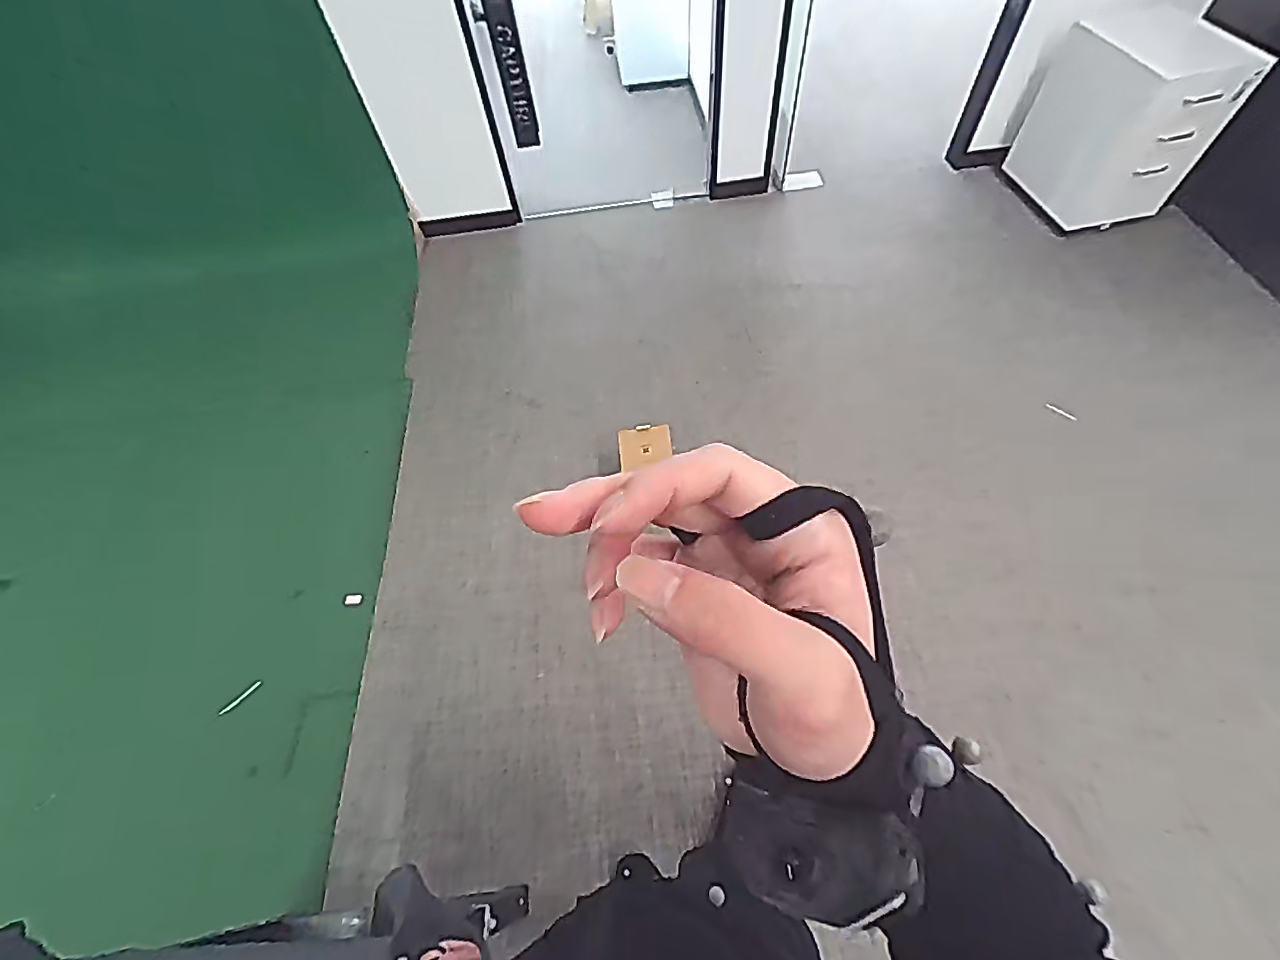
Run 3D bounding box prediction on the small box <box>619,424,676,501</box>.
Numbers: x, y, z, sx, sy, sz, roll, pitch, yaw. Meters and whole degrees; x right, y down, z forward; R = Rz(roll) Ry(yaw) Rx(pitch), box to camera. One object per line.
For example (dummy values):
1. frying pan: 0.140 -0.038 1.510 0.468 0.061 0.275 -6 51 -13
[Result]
1. small box: 0.025 -0.054 1.730 0.168 0.176 0.179 -6 58 4
